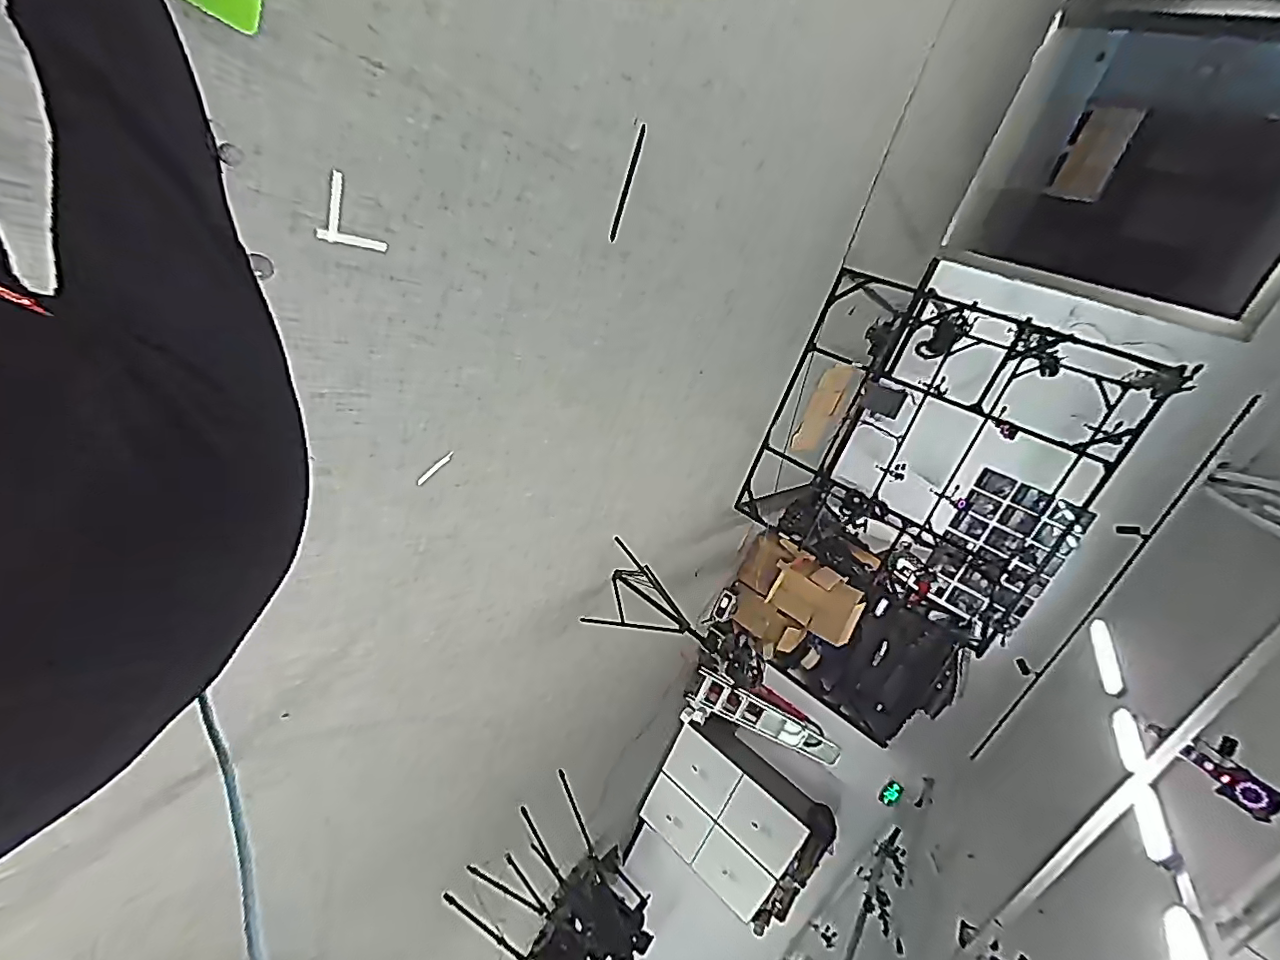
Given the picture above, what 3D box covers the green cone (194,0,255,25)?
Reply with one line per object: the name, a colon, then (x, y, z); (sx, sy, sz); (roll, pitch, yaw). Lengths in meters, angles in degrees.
green cone: (-0.648, -0.876, 0.863); (0.202, 0.368, 0.200); (-5, 122, -57)
